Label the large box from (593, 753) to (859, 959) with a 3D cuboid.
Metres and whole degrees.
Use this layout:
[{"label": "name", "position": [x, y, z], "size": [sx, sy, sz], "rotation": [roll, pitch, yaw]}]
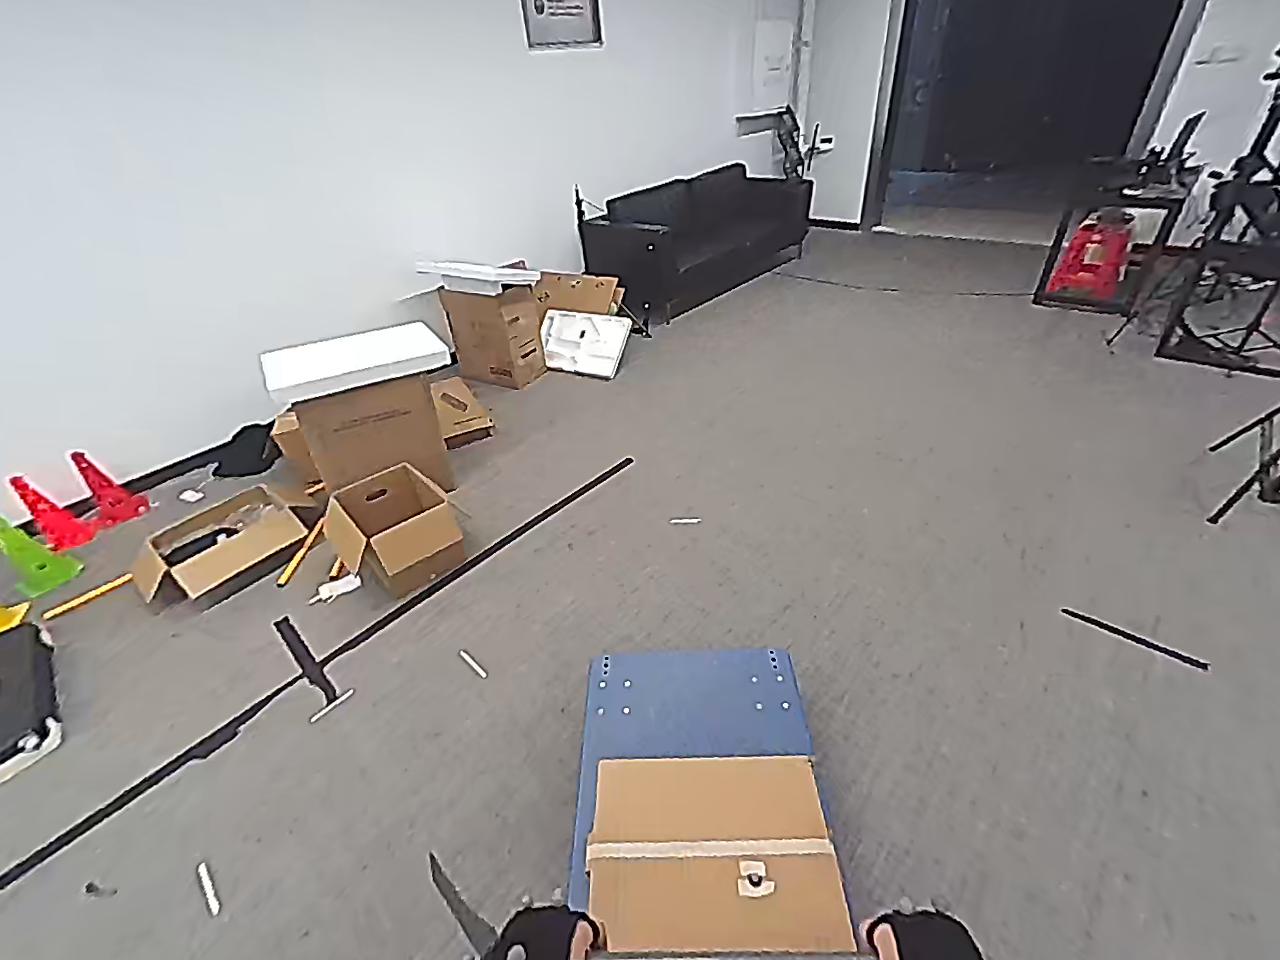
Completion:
[{"label": "large box", "position": [0.131, 0.744, 1.001], "size": [0.408, 0.320, 0.320], "rotation": [-2, 36, 2]}]
